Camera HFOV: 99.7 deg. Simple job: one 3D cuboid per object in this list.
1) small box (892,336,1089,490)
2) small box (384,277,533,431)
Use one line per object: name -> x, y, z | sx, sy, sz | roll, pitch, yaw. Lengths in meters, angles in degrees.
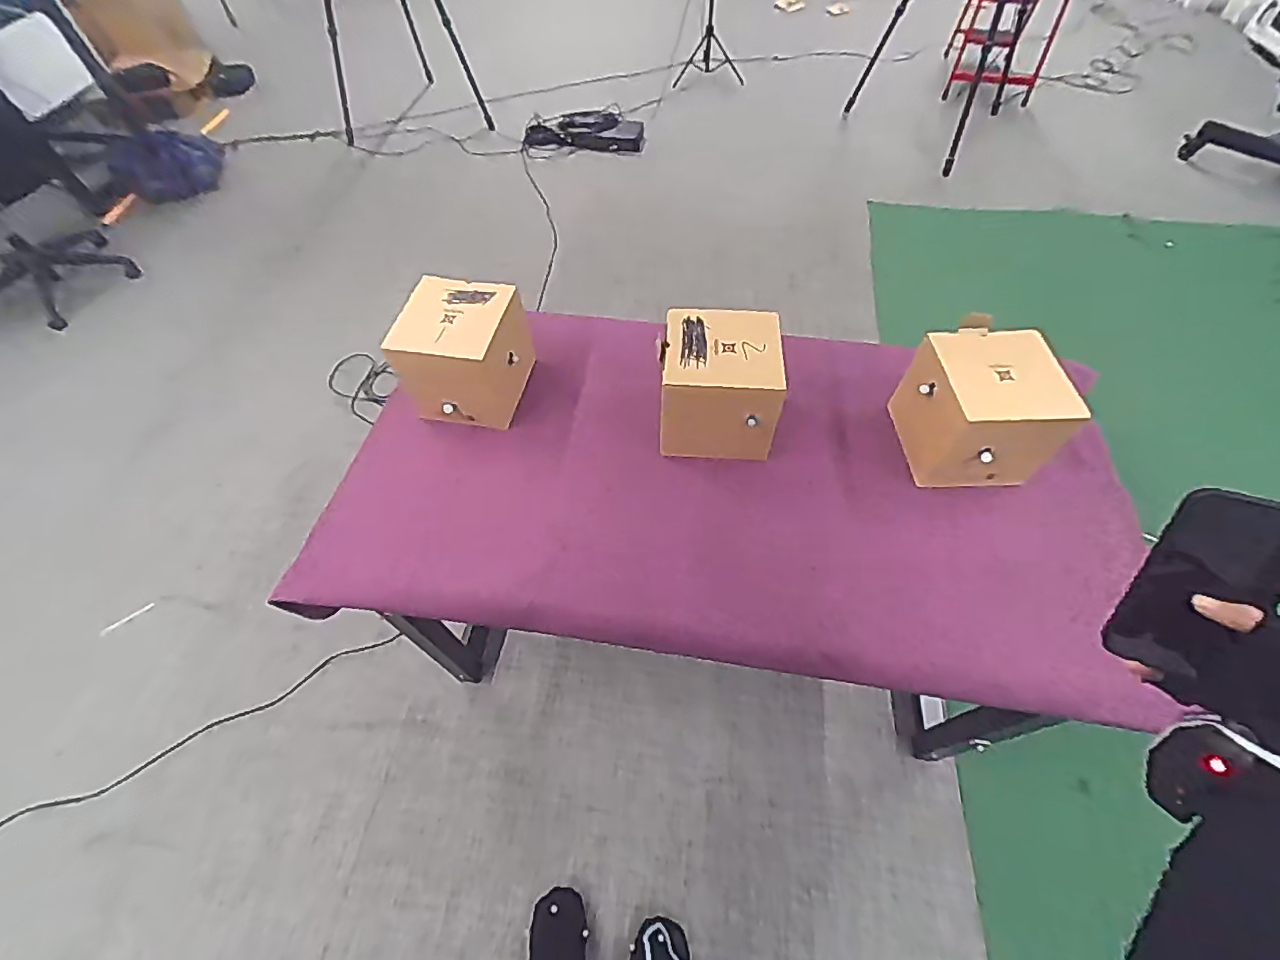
small box -> 0.511, -0.095, 0.823 | 0.168, 0.176, 0.179 | -1, 55, 1
small box -> -0.290, -0.210, 0.912 | 0.168, 0.176, 0.179 | 9, 58, 7
